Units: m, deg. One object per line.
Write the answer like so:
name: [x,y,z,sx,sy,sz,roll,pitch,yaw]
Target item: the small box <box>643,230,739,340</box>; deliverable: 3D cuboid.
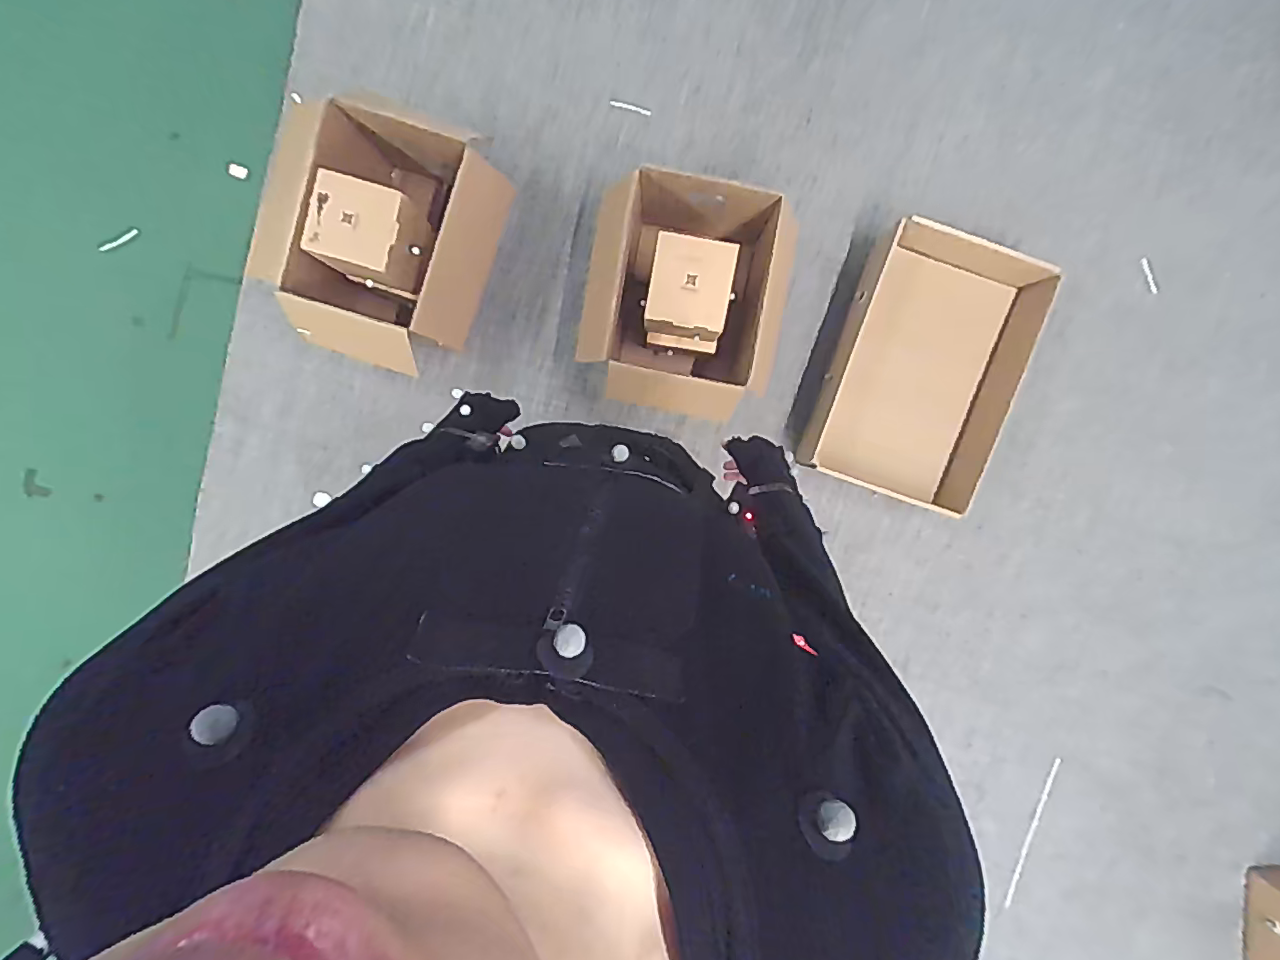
small box: [0.104,-0.409,1.164,0.168,0.176,0.179,10,97,-1]
